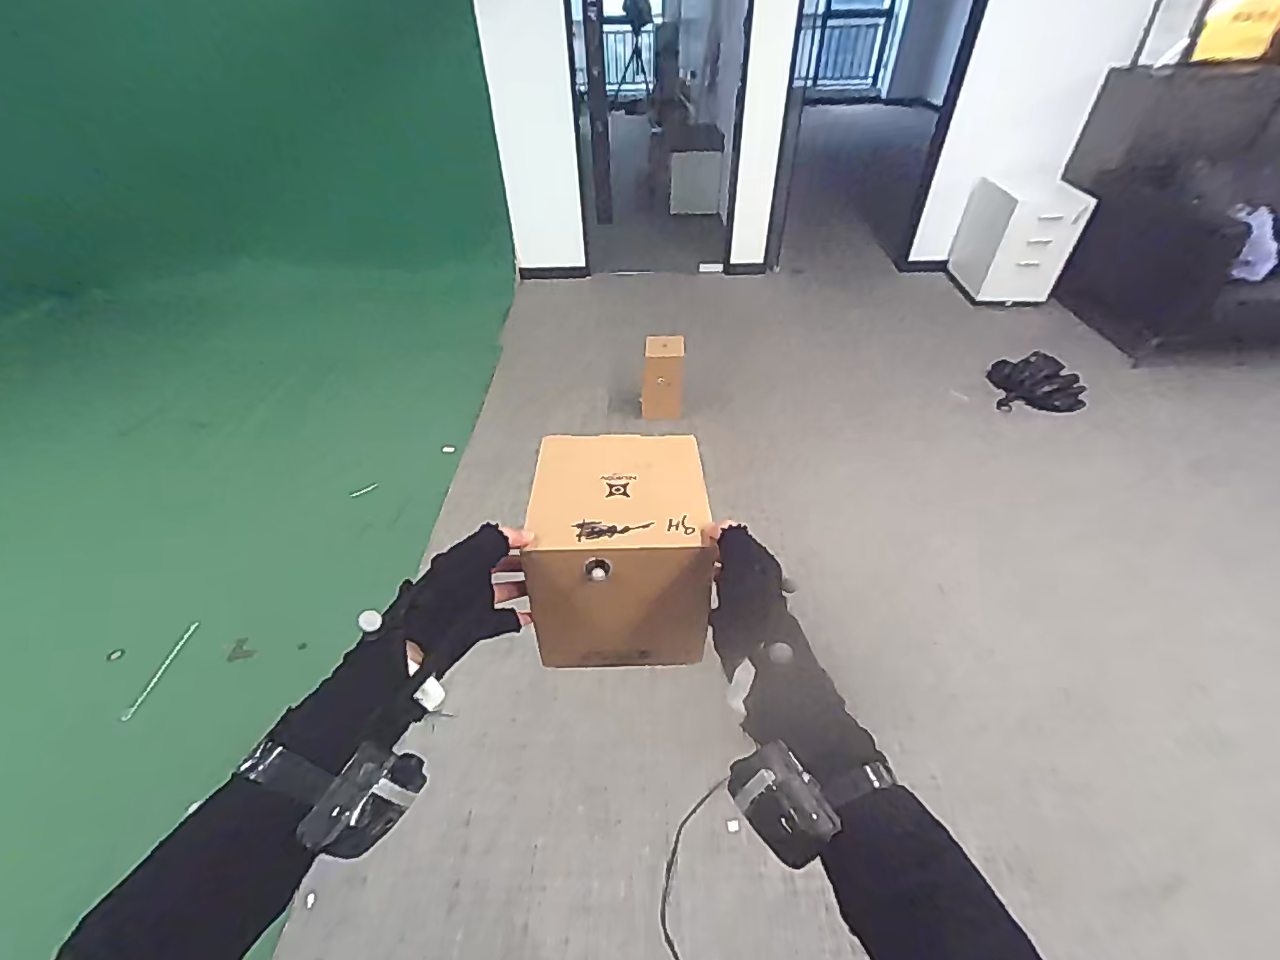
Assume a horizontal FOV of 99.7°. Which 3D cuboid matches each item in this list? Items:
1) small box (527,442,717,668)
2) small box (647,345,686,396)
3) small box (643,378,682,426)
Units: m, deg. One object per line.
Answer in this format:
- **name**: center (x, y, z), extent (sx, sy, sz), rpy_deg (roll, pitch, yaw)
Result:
- **small box**: center (-0.016, 0.074, 0.572), extent (0.168, 0.176, 0.179), rpy_deg (-1, 36, -1)
- **small box**: center (0.117, -0.488, 2.410), extent (0.168, 0.176, 0.179), rpy_deg (-1, 42, 3)
- **small box**: center (0.106, -0.362, 2.511), extent (0.179, 0.176, 0.168), rpy_deg (0, 41, 3)
